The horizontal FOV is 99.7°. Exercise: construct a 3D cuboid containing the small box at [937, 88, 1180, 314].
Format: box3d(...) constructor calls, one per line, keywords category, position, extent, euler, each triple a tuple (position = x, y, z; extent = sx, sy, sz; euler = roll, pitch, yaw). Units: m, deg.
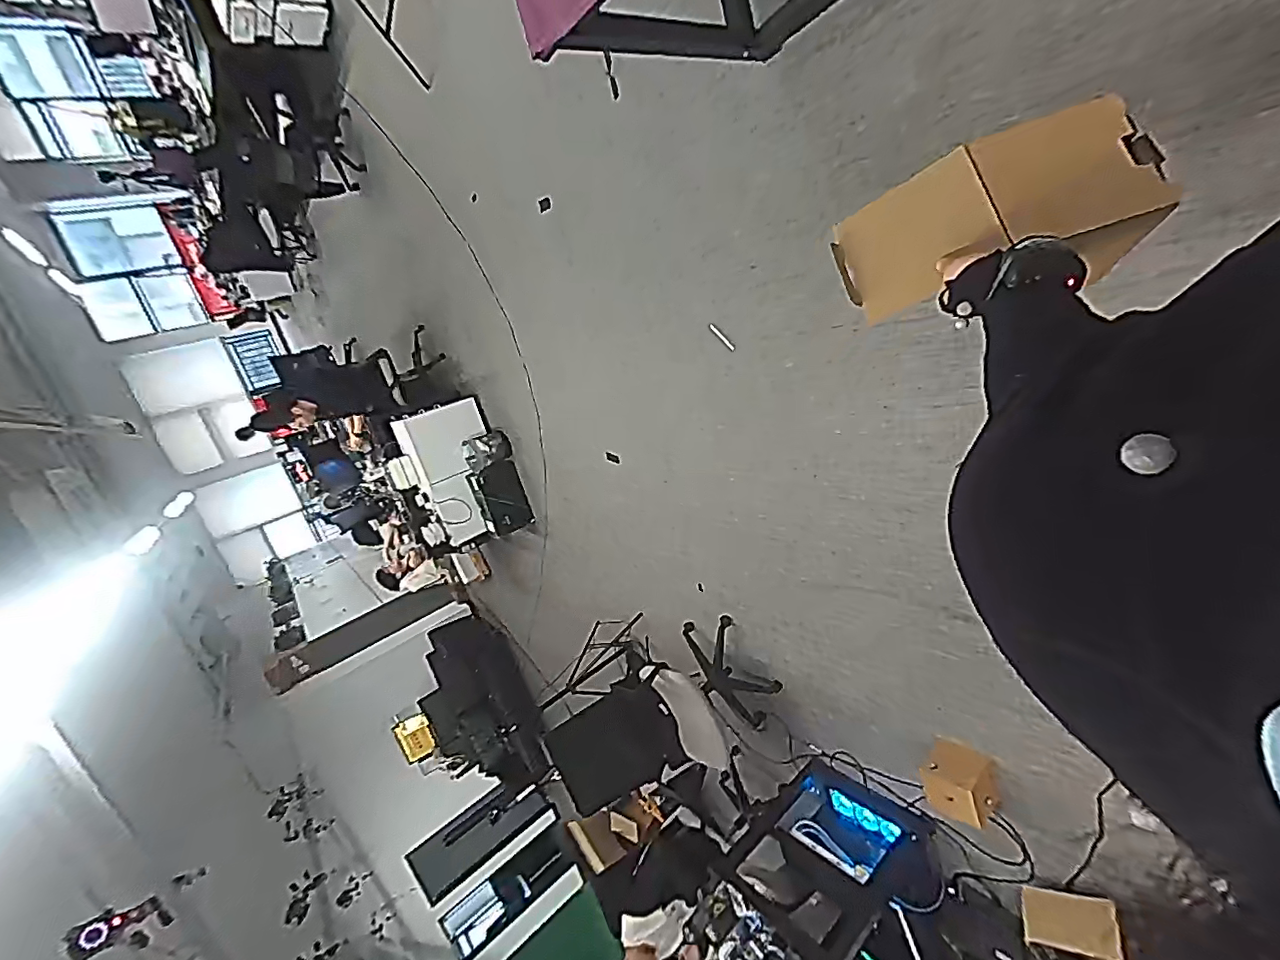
box3d(category="small box", position=(0.511, -0.342, 0.699), extent=(0.176, 0.179, 0.168), euler=(40, -144, -74))
